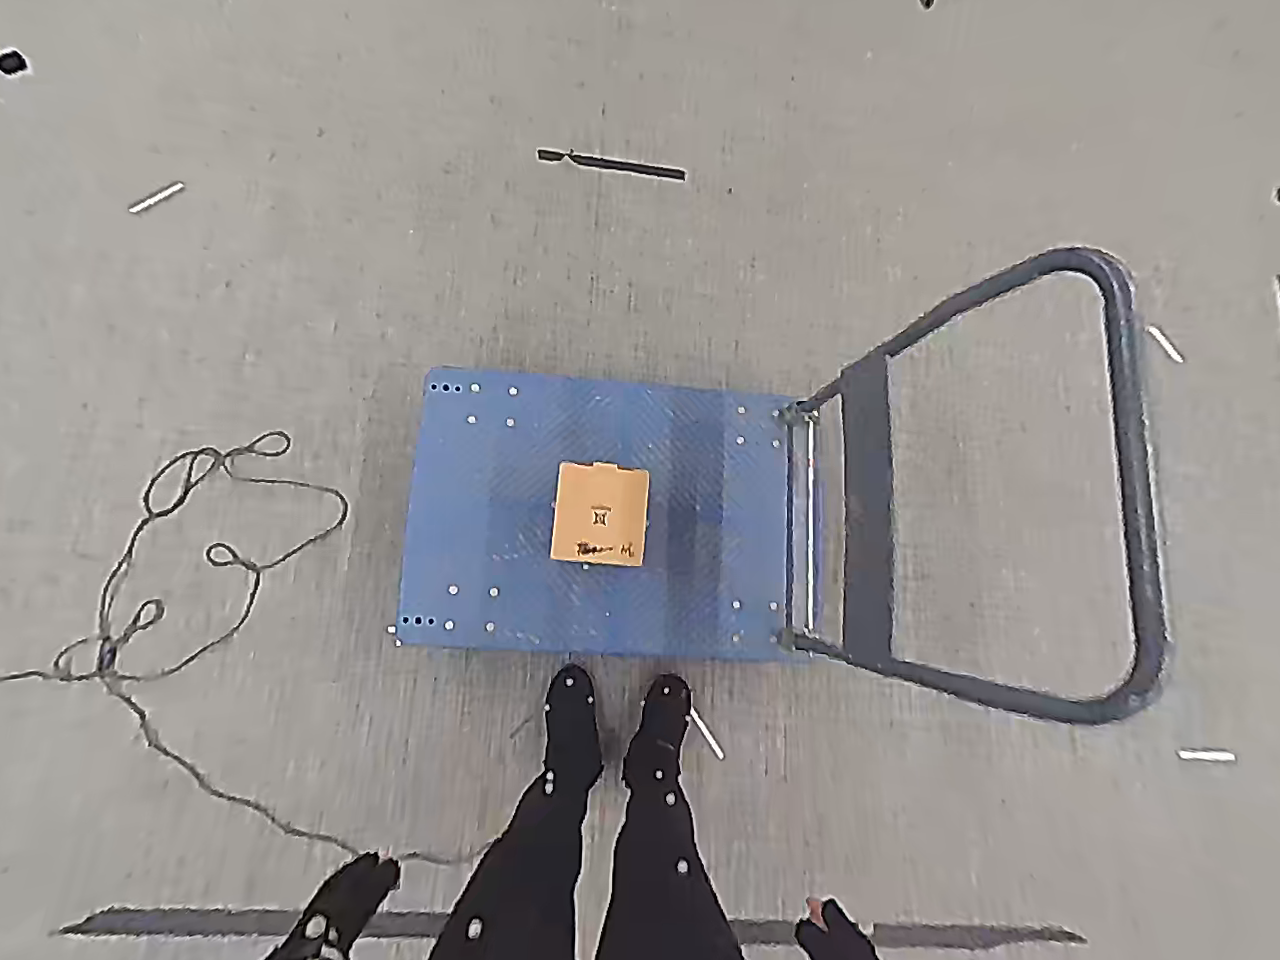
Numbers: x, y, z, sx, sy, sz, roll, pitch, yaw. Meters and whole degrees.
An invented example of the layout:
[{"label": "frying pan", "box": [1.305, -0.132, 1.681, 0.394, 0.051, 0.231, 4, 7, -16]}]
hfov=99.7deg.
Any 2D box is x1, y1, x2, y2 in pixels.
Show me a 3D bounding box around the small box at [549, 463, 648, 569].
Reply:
[{"label": "small box", "box": [-0.081, 0.077, 1.054, 0.168, 0.176, 0.179, 6, 79, -4]}]
